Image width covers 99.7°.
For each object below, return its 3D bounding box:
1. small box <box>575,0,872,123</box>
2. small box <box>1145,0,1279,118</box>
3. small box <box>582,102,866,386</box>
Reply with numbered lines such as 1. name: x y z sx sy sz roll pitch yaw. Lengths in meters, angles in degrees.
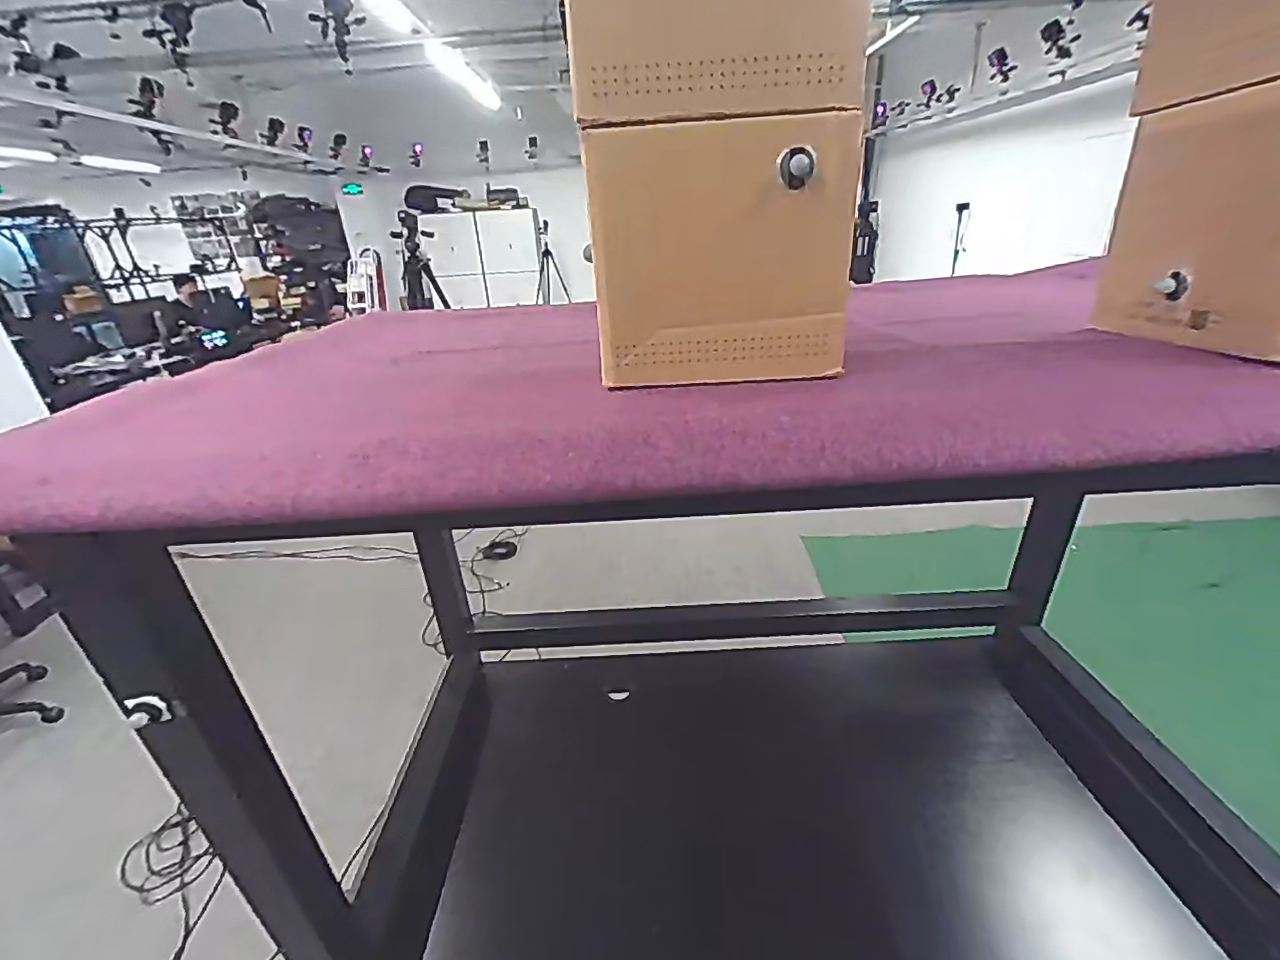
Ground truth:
1. small box: 0.049 -0.326 0.365 0.179 0.176 0.168 -1 24 2
2. small box: 0.465 -0.334 0.315 0.168 0.176 0.179 -4 23 3
3. small box: 0.057 -0.174 0.428 0.179 0.176 0.168 -2 24 2
